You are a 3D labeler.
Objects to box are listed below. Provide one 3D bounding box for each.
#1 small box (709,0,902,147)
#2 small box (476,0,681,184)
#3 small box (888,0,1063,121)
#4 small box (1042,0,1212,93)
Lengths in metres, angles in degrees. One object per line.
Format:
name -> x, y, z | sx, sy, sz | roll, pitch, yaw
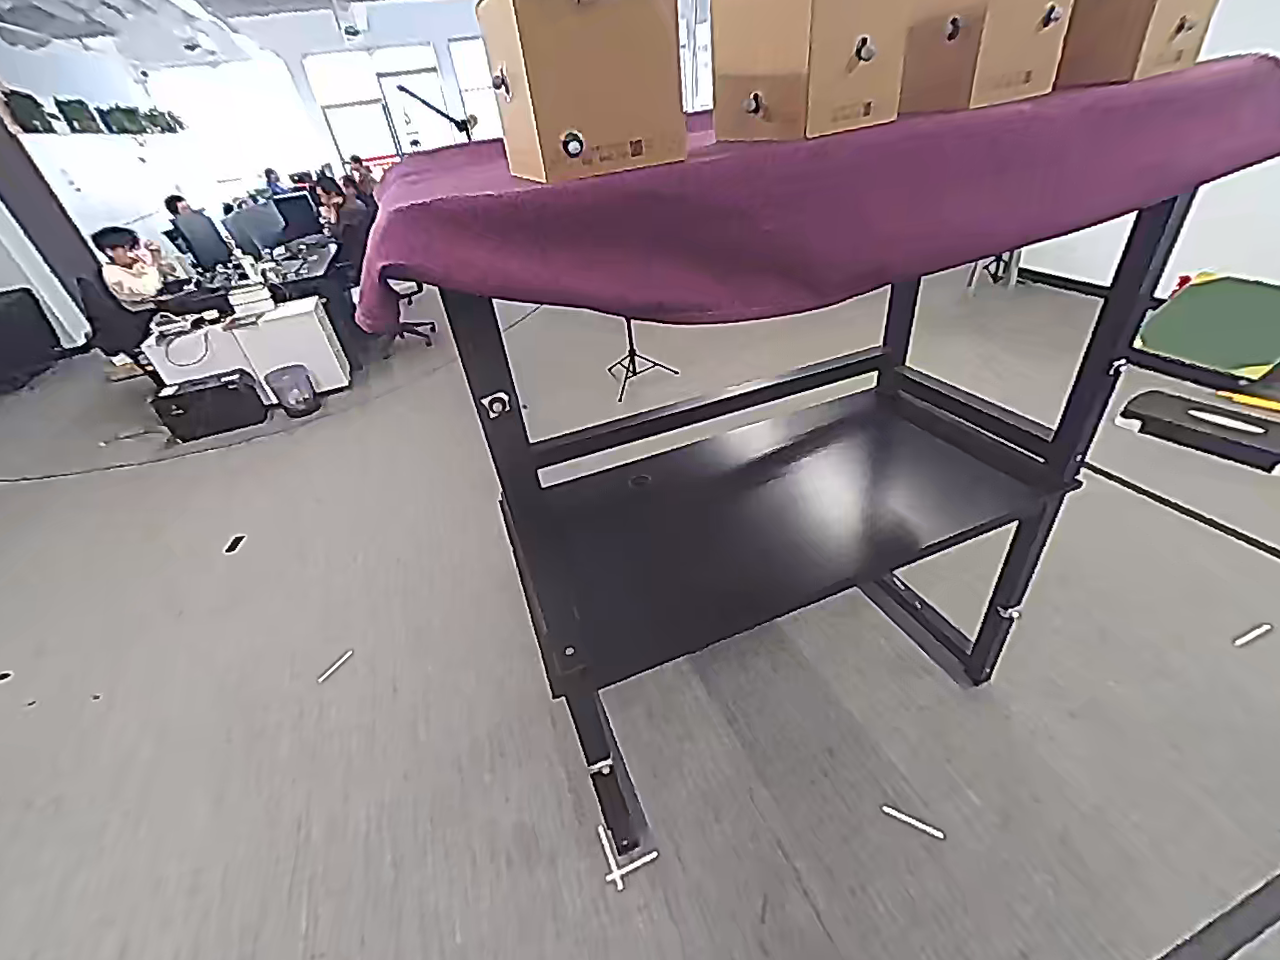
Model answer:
small box -> 0.207, -0.532, 0.683 | 0.168, 0.176, 0.179 | -24, 38, -22
small box -> -0.065, -0.436, 0.600 | 0.168, 0.176, 0.179 | -19, 35, -16
small box -> 0.454, -0.616, 0.756 | 0.168, 0.176, 0.179 | -20, 36, -17
small box -> 0.702, -0.690, 0.805 | 0.168, 0.176, 0.179 | -23, 36, -19
